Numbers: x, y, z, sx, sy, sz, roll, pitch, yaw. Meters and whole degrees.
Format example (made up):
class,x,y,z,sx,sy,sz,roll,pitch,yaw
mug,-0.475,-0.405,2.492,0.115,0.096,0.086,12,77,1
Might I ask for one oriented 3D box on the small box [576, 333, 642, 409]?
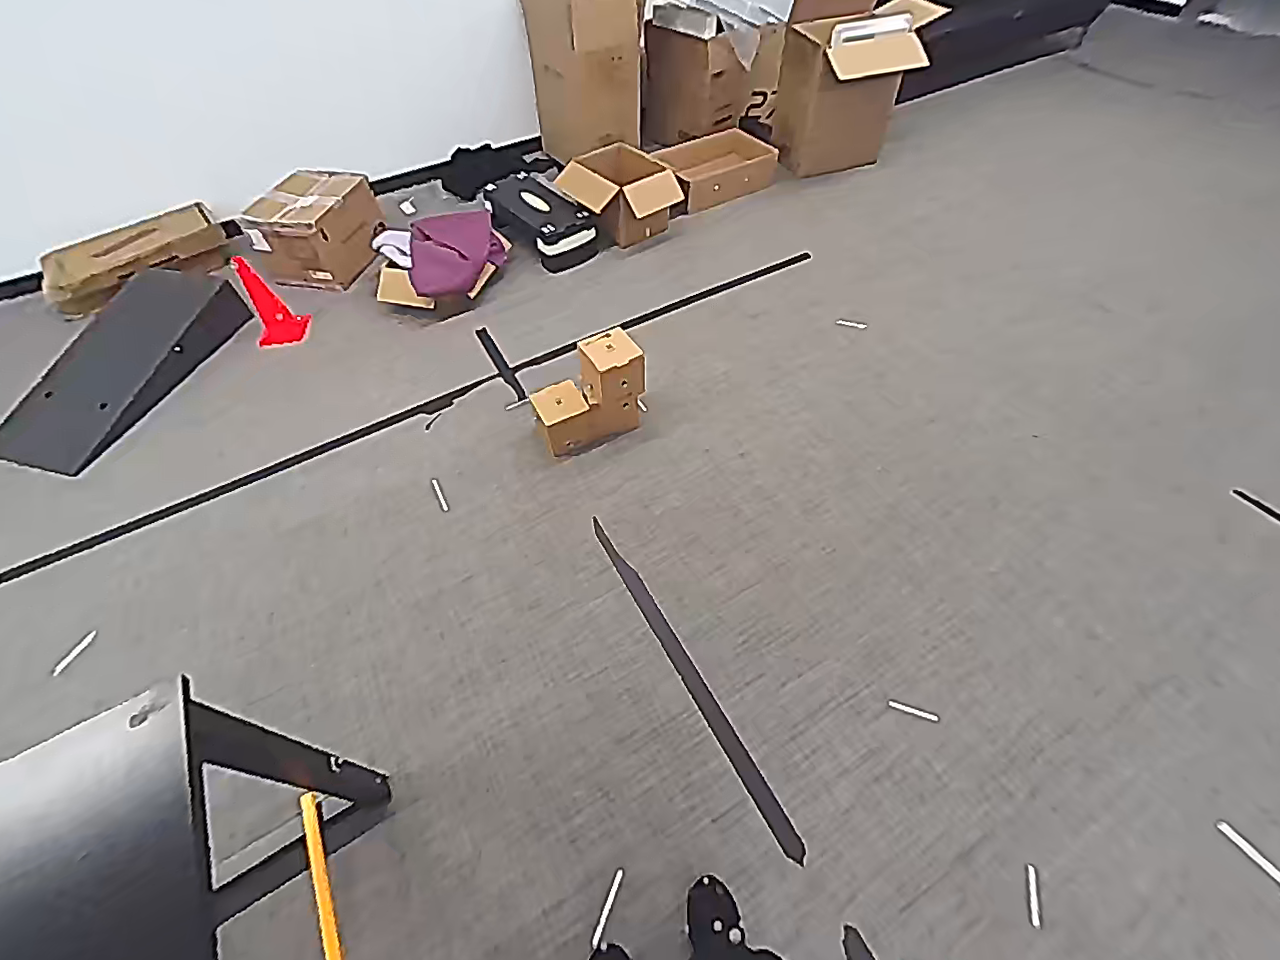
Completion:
class,x,y,z,sx,sy,sz,roll,pitch,yaw
small box,-0.100,-0.366,1.853,0.168,0.176,0.179,-25,56,-16
